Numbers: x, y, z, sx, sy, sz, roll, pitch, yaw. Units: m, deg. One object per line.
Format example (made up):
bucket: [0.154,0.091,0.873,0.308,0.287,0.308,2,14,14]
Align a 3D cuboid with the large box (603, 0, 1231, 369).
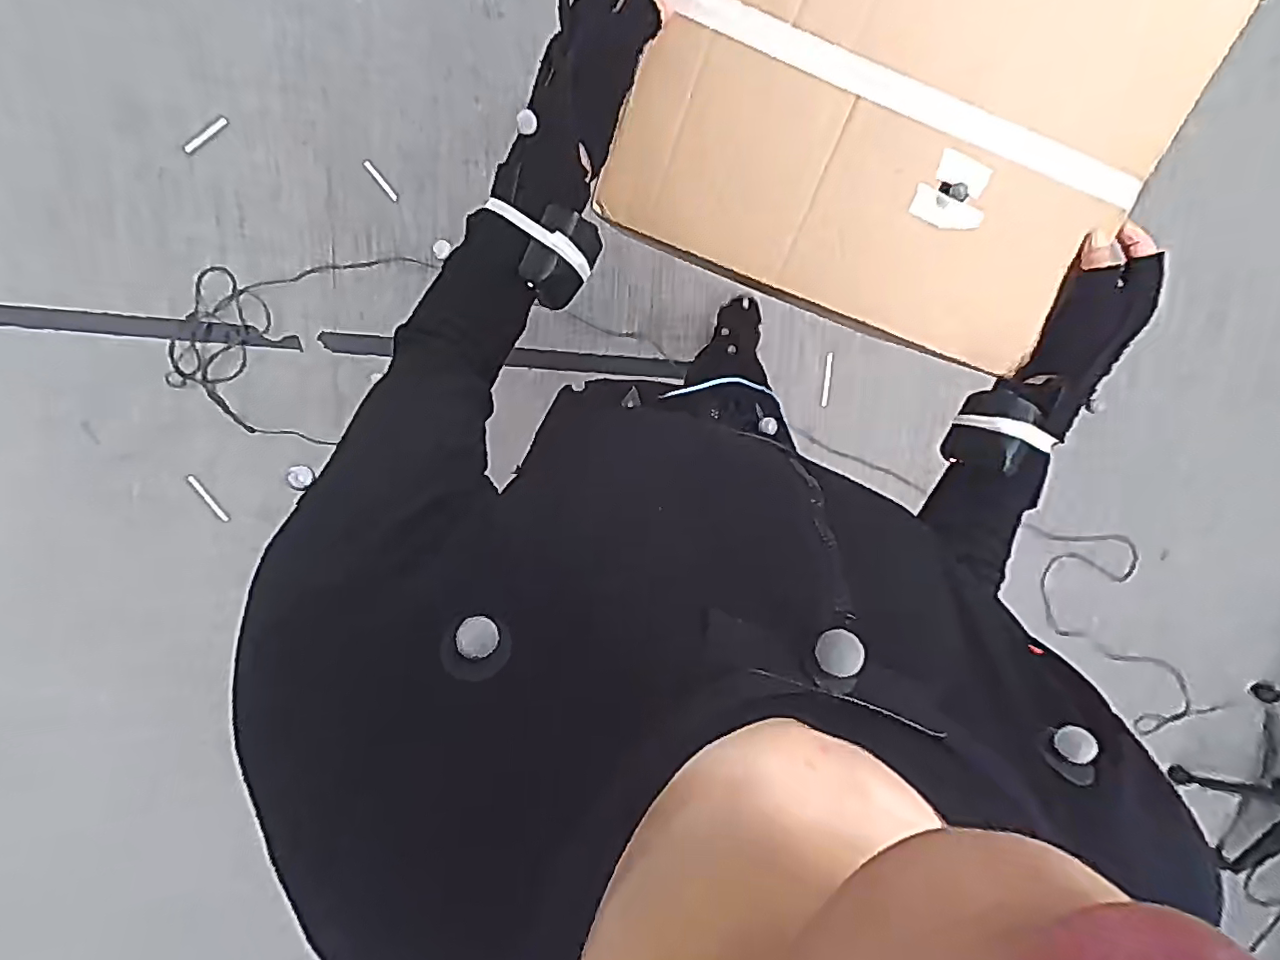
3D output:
large box: [0.204,-0.350,0.564,0.408,0.320,0.320,20,111,-7]
